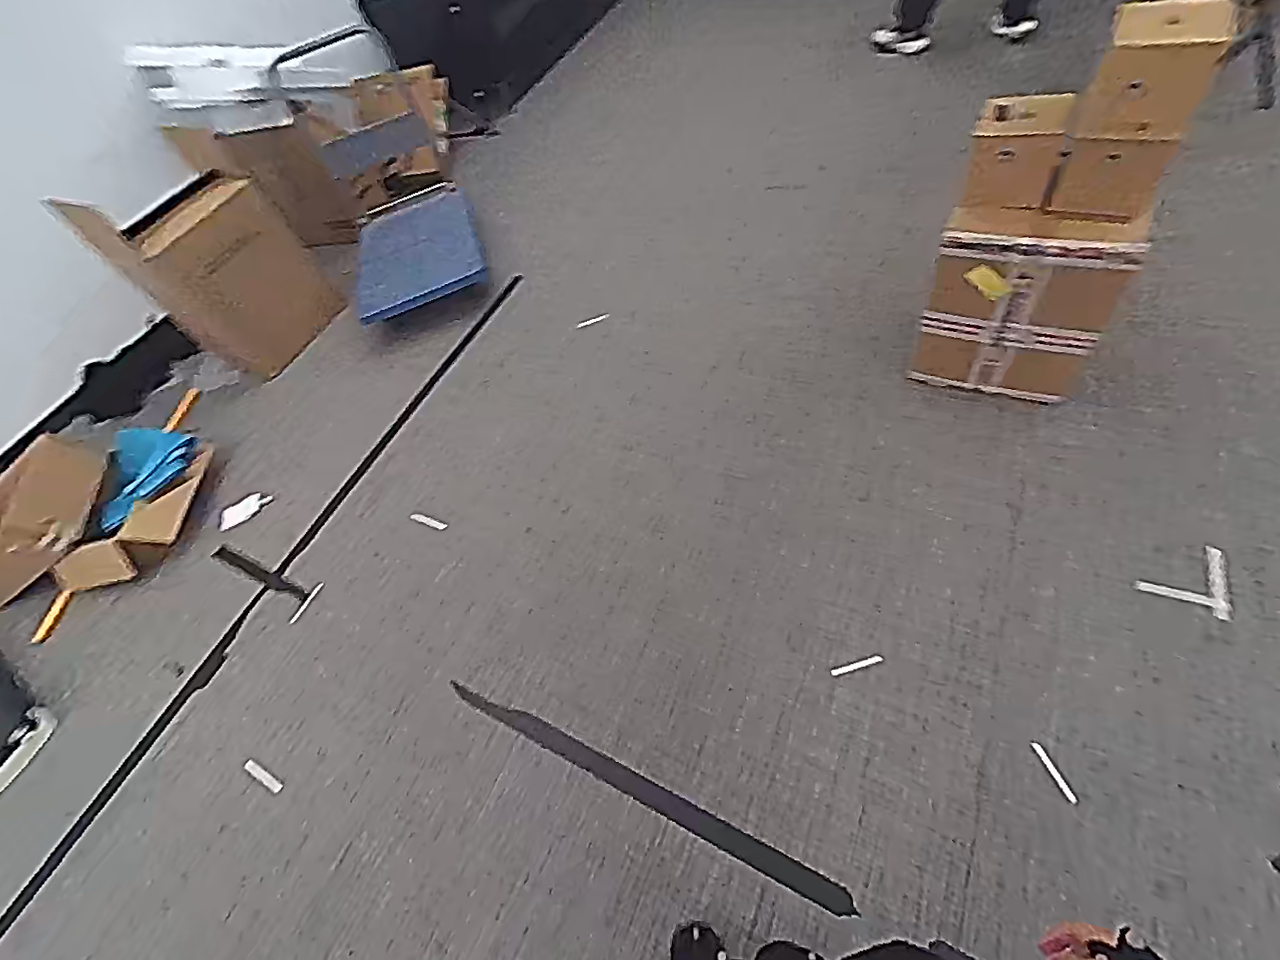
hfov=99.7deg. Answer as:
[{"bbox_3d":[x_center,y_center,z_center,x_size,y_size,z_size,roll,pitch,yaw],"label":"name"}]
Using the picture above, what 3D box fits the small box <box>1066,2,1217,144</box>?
[{"bbox_3d":[0.969,-0.786,1.057,0.168,0.176,0.179,17,63,25],"label":"small box"}]
